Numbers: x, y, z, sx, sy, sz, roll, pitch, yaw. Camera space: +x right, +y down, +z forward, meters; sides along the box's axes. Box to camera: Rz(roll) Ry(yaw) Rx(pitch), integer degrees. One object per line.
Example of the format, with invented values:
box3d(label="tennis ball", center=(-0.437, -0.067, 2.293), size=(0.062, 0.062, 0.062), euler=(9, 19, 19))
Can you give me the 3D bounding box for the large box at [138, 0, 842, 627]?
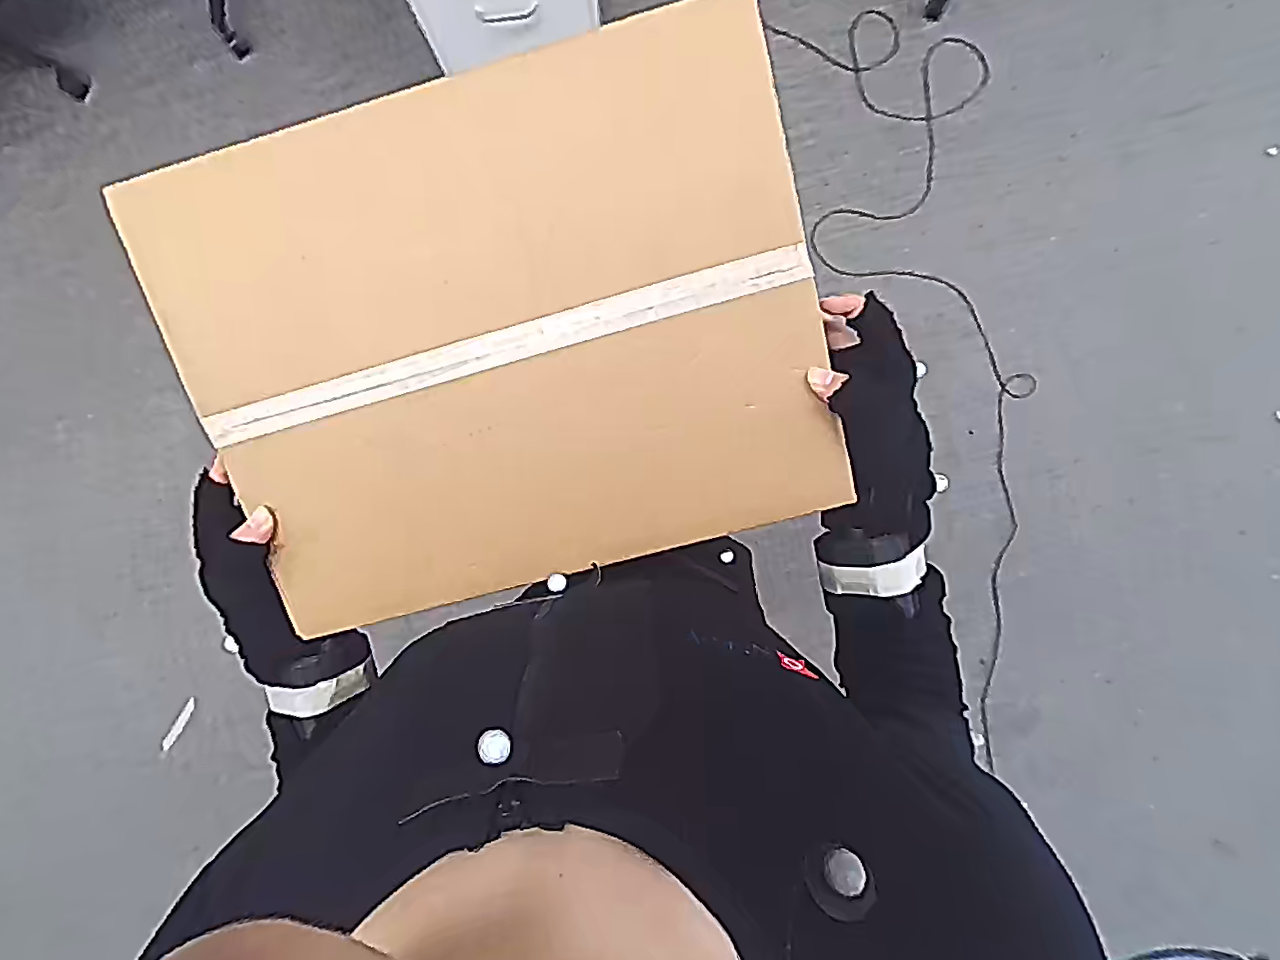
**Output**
box3d(label="large box", center=(-0.090, -0.115, 0.502), size=(0.408, 0.320, 0.320), euler=(-15, 102, 4))
